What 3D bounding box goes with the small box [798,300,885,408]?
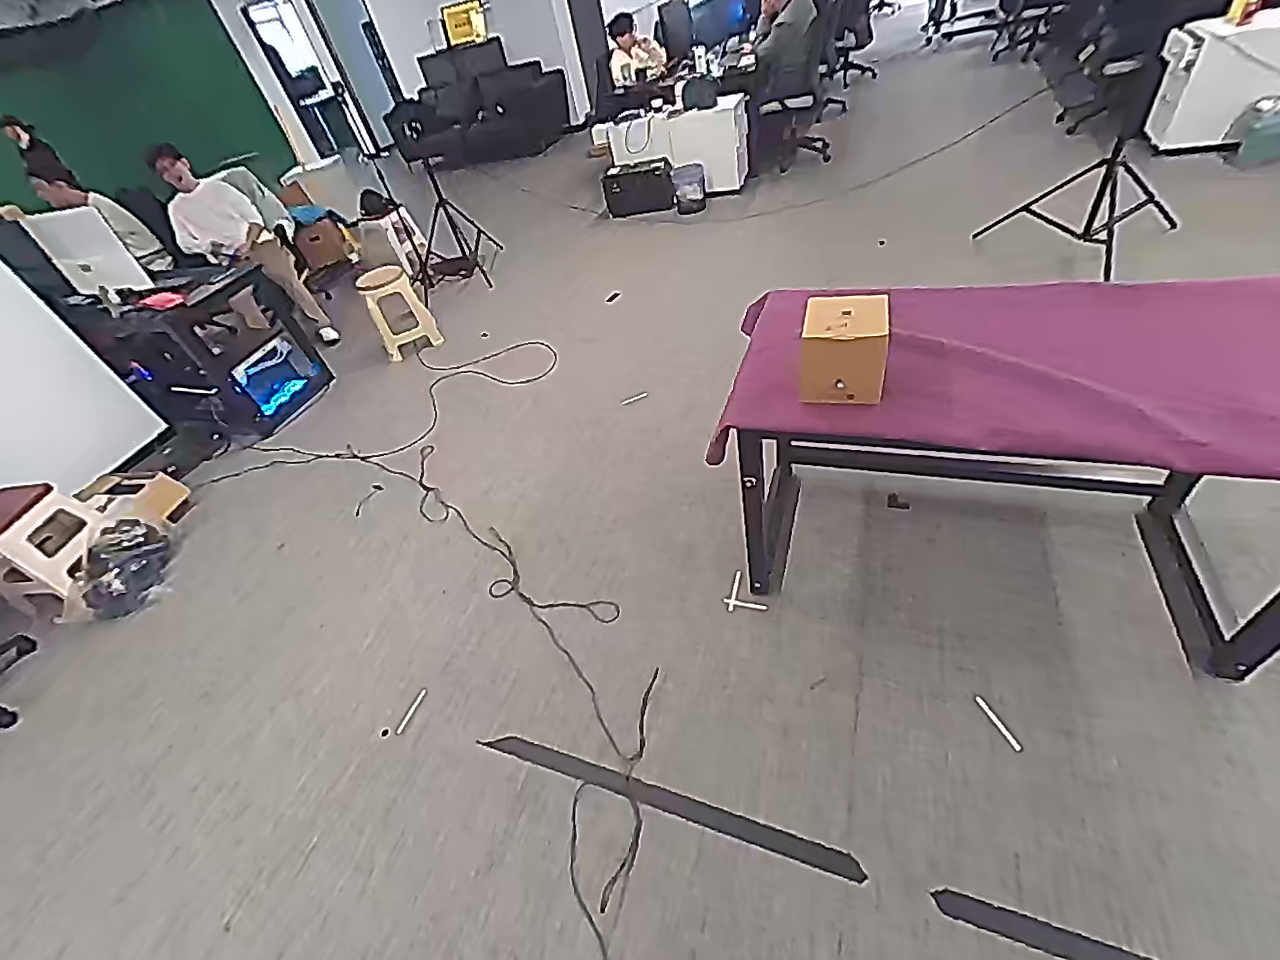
[{"bbox_3d":[0.444,-0.281,1.199,0.168,0.176,0.179,4,46,20],"label":"small box"}]
